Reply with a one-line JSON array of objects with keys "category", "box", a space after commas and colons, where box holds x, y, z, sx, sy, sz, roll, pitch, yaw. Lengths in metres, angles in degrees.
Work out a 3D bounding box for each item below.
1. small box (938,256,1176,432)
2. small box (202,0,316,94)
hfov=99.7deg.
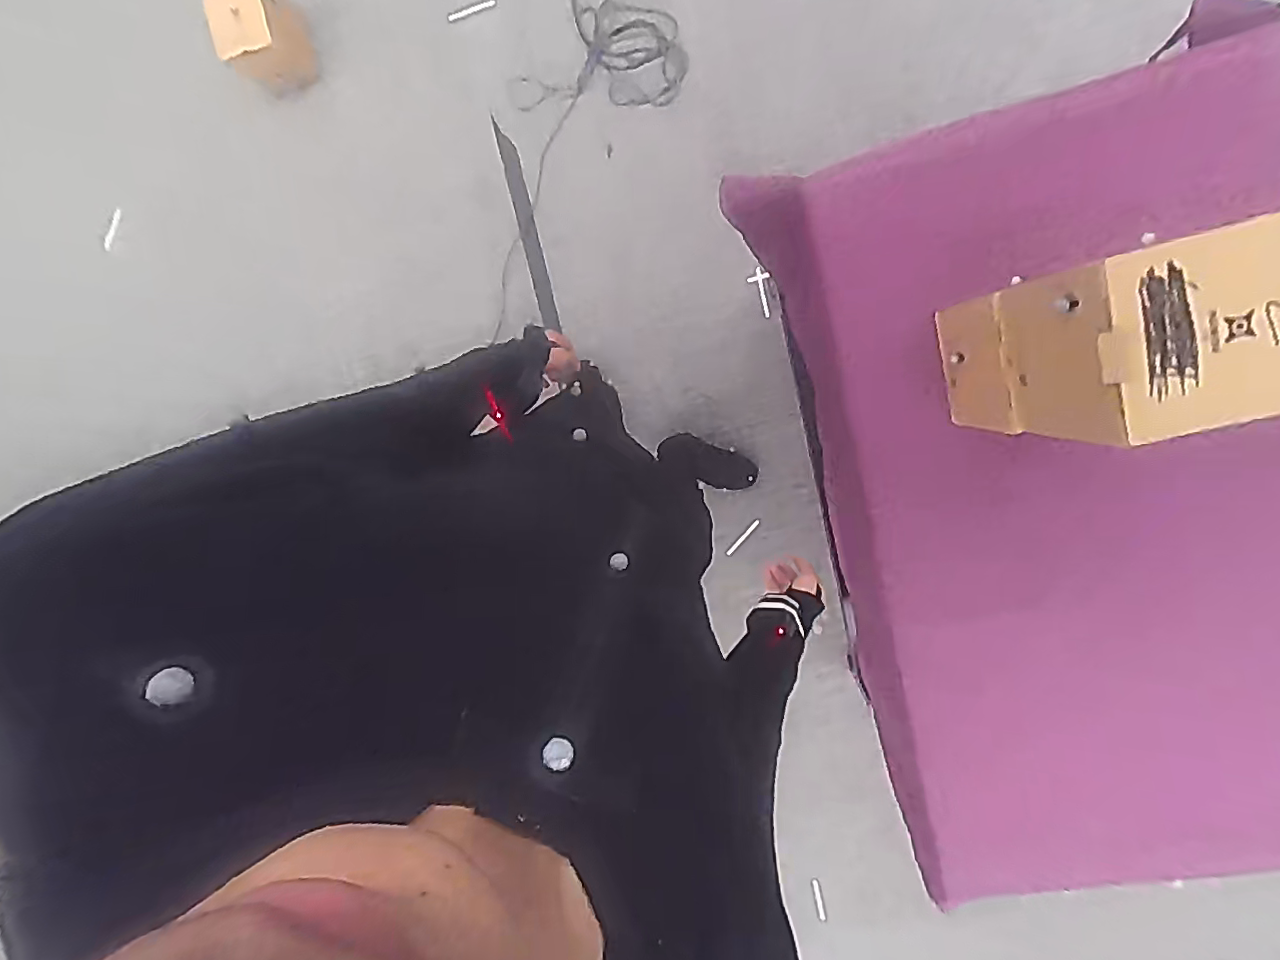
[{"category": "small box", "box": [0.518, -0.167, 0.694, 0.179, 0.176, 0.168, -13, 99, 10]}, {"category": "small box", "box": [-1.016, -1.190, 1.451, 0.168, 0.176, 0.179, -8, 99, 10]}]
